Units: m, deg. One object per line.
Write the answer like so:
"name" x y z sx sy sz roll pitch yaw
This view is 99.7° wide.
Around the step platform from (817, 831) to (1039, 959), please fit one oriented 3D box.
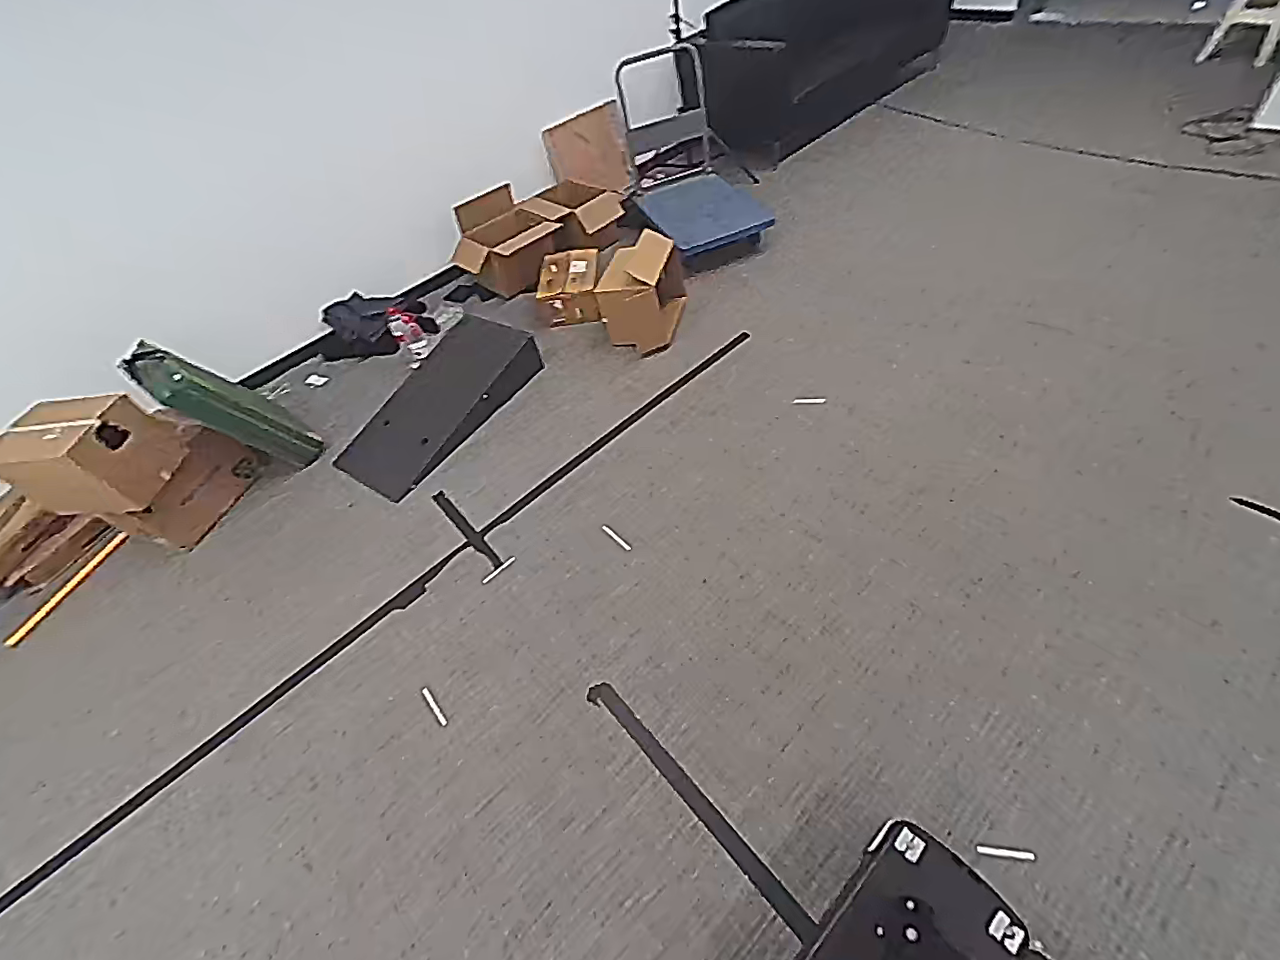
"step platform" 0.457 1.053 1.040 0.684 0.204 0.286 -40 54 -21
